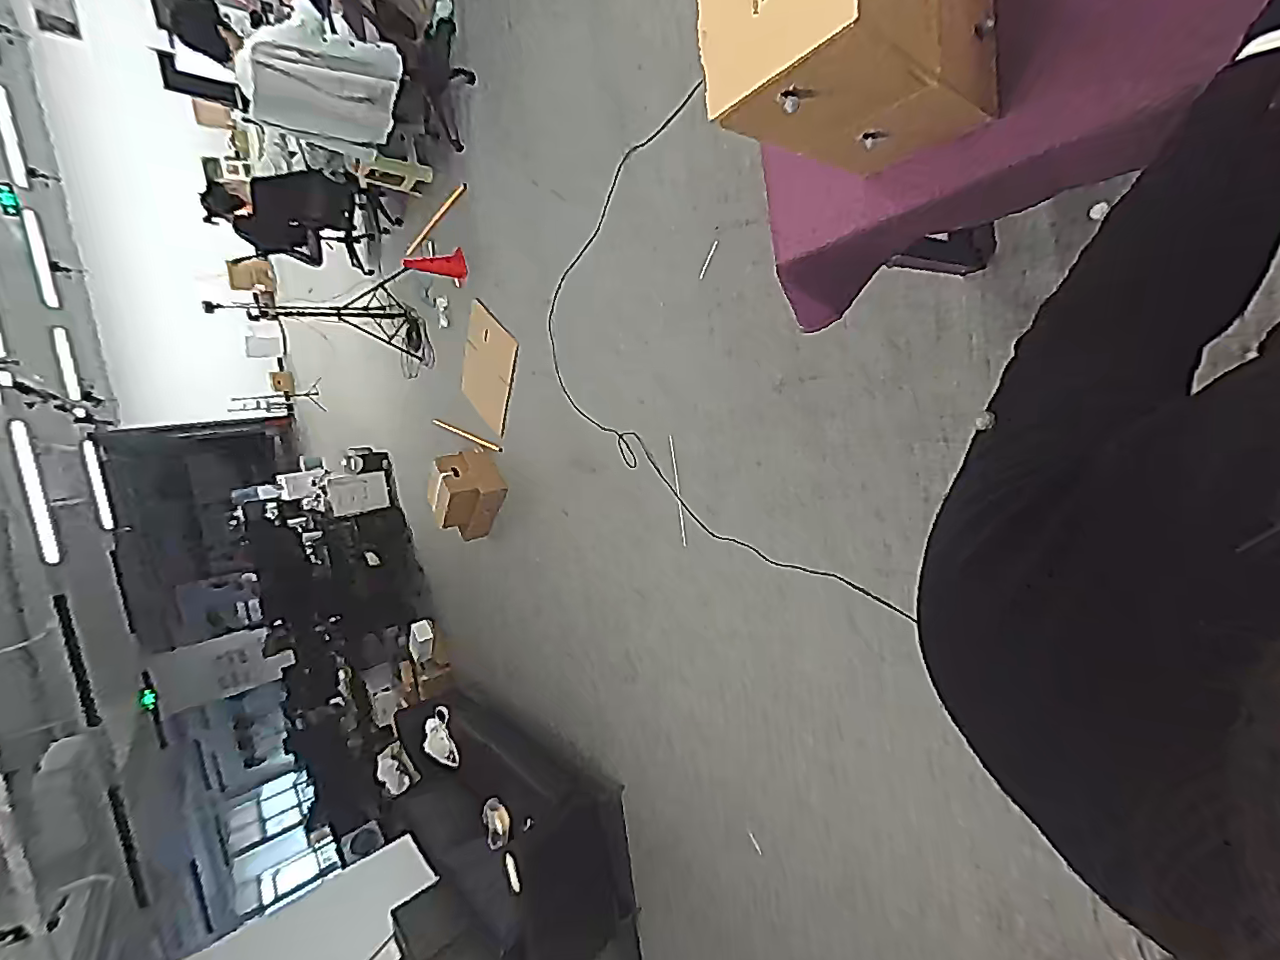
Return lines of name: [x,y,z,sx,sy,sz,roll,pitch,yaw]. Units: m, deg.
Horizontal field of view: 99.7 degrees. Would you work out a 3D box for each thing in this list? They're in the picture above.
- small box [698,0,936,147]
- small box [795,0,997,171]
small box: [0.182,-0.477,0.555,0.179,0.176,0.168,1,101,52]
small box: [0.305,-0.505,0.659,0.179,0.176,0.168,2,102,51]
